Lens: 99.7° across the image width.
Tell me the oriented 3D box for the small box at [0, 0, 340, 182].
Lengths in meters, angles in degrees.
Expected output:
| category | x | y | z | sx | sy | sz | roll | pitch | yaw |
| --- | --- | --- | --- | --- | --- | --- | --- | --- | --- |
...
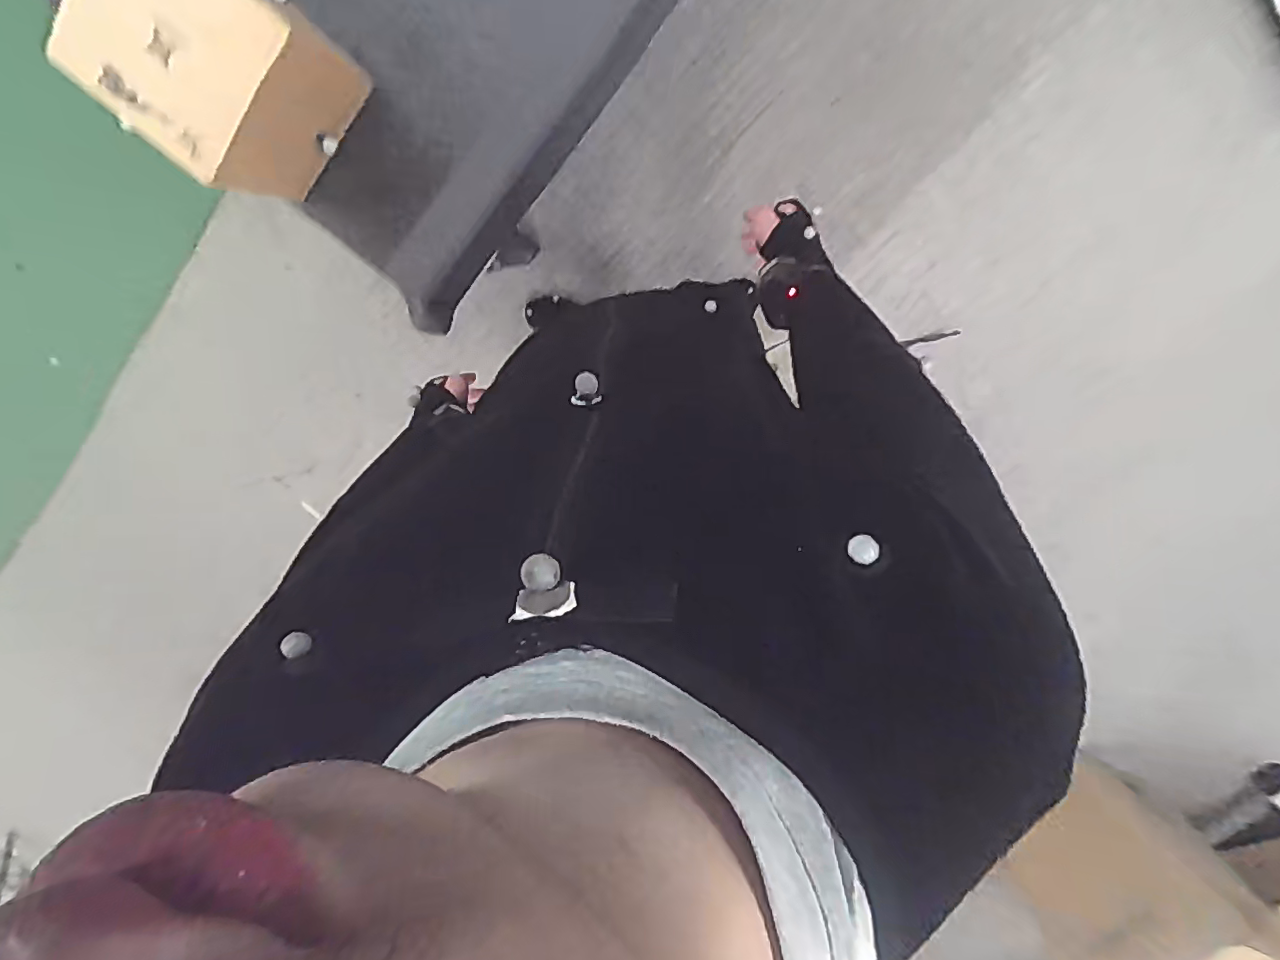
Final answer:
| category | x | y | z | sx | sy | sz | roll | pitch | yaw |
| --- | --- | --- | --- | --- | --- | --- | --- | --- | --- |
| small box | -0.439 | -0.437 | 0.541 | 0.168 | 0.176 | 0.179 | 41 | 105 | -16 |
